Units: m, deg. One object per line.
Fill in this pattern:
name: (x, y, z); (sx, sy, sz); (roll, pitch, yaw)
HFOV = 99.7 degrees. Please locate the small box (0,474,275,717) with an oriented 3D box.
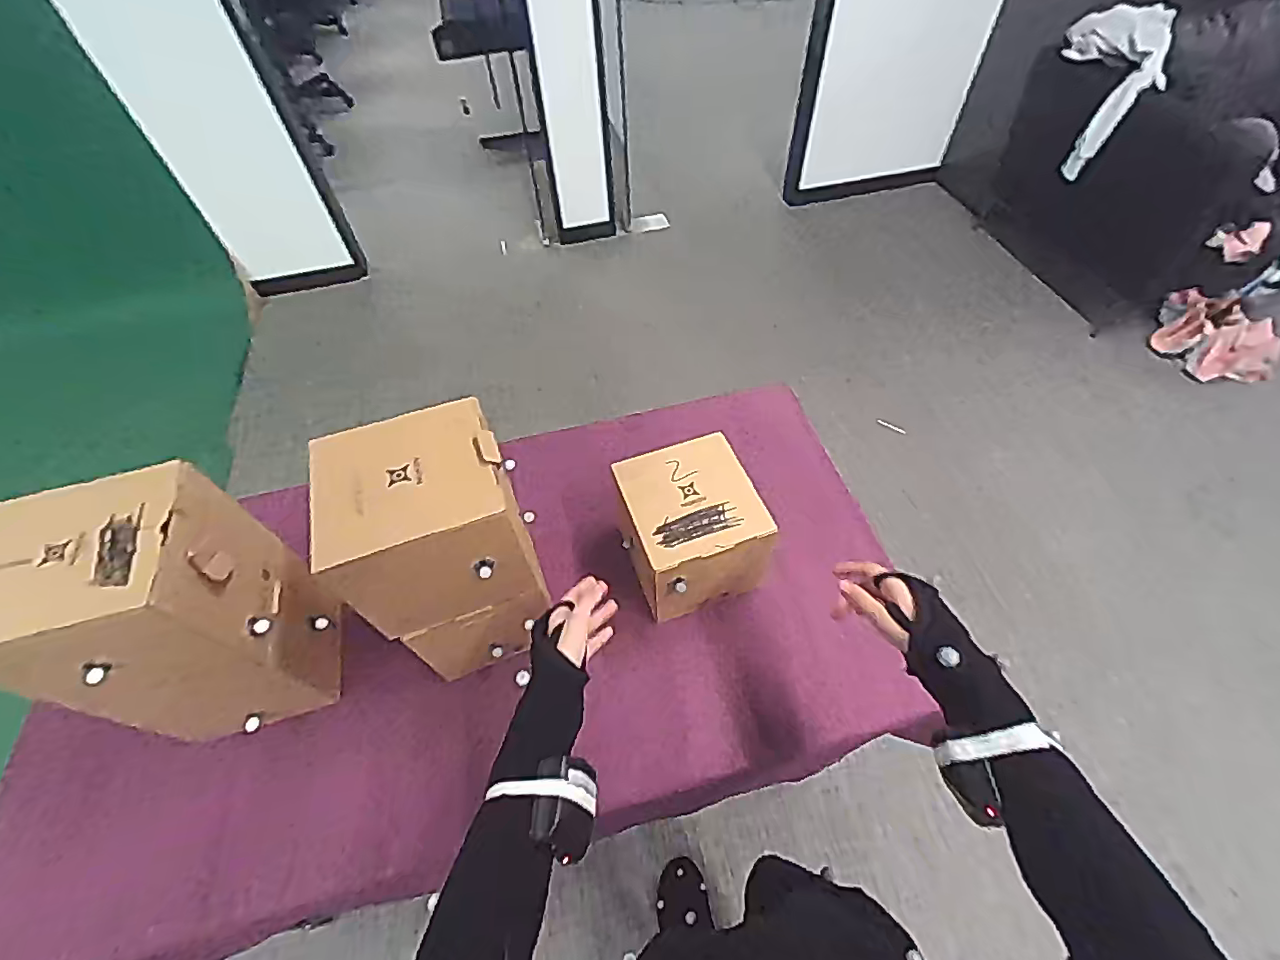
small box: (-0.516, 0.123, 0.557); (0.179, 0.176, 0.168); (-15, 55, -7)

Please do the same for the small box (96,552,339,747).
small box: (-0.510, 0.219, 0.691); (0.179, 0.176, 0.168); (-15, 55, -8)

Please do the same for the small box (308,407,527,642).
small box: (-0.232, 0.053, 0.596); (0.179, 0.176, 0.168); (-18, 55, -9)

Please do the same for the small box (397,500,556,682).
small box: (-0.224, 0.144, 0.732); (0.168, 0.176, 0.179); (-20, 57, -10)
